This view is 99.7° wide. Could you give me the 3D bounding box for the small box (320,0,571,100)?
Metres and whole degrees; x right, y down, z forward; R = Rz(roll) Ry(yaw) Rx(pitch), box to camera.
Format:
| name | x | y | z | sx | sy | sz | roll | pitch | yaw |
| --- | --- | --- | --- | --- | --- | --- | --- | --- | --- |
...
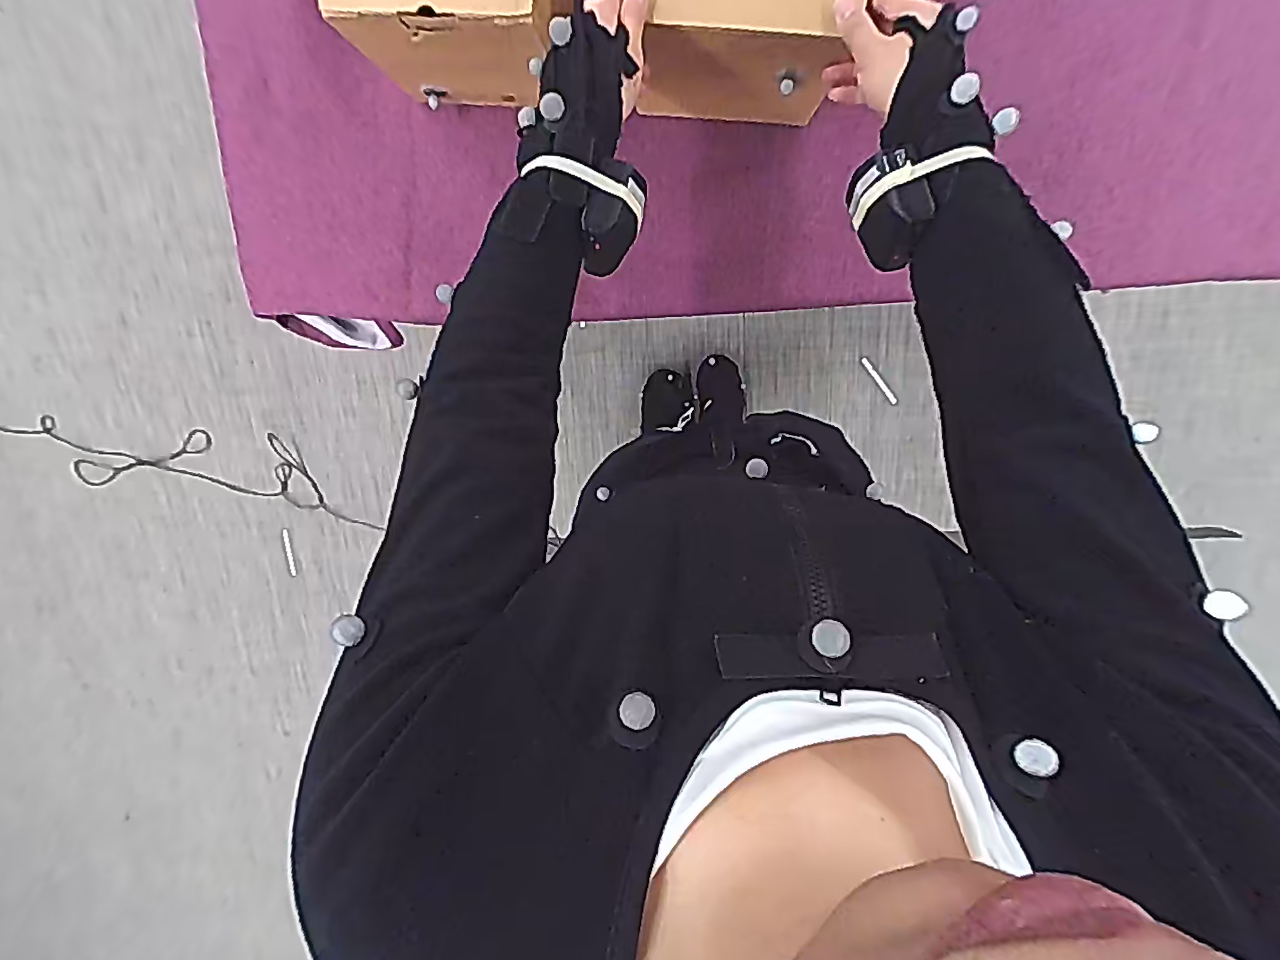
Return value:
| name | x | y | z | sx | sy | sz | roll | pitch | yaw |
| --- | --- | --- | --- | --- | --- | --- | --- | --- | --- |
| small box | -0.152 | -0.453 | 0.457 | 0.168 | 0.176 | 0.179 | 3 | 105 | 1 |
